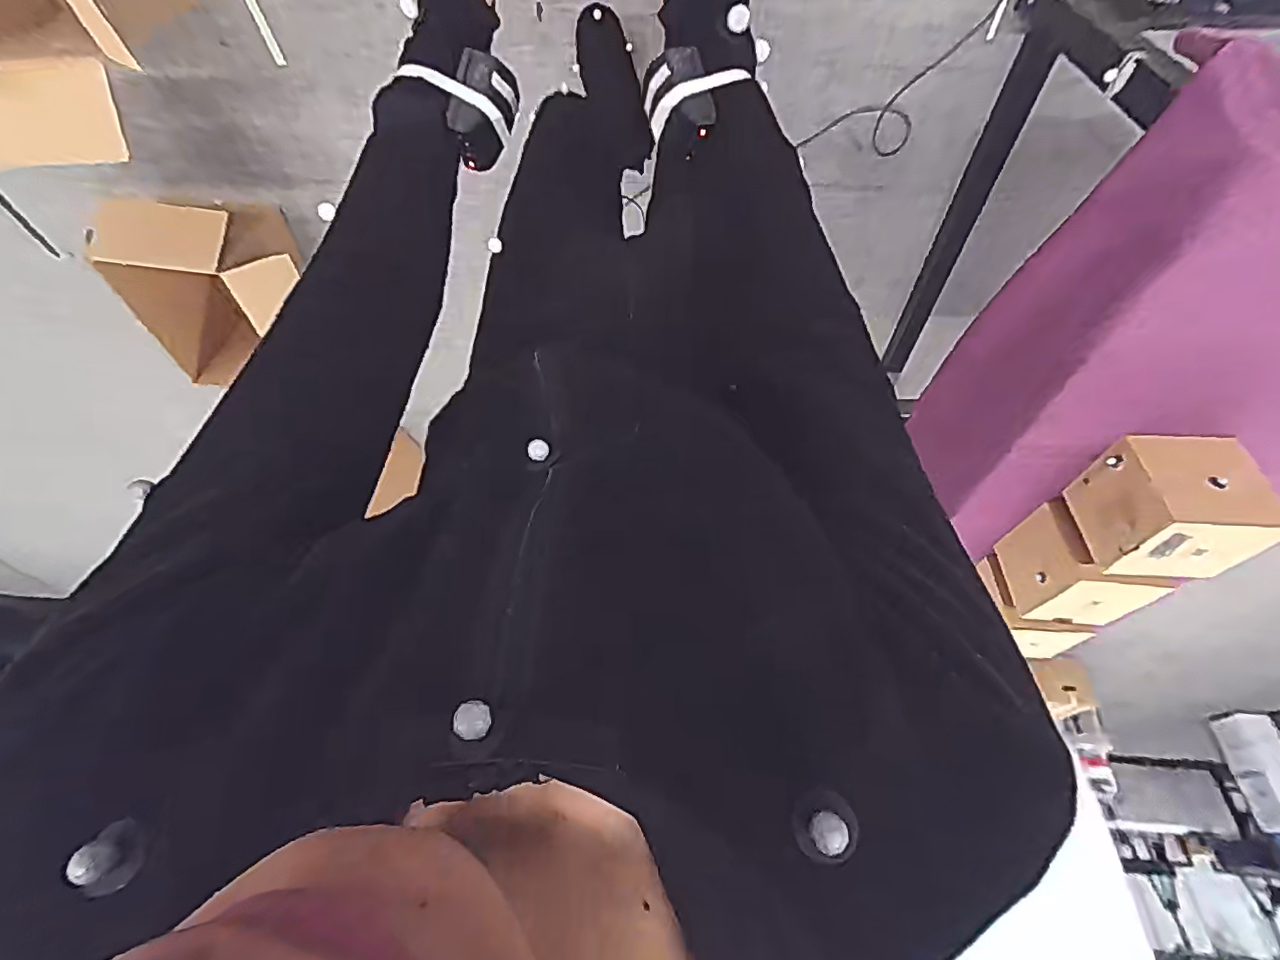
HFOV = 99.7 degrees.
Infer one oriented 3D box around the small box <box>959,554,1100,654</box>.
[{"bbox_3d":[0.855,0.276,1.211,0.179,0.176,0.168,3,145,2],"label":"small box"}]
